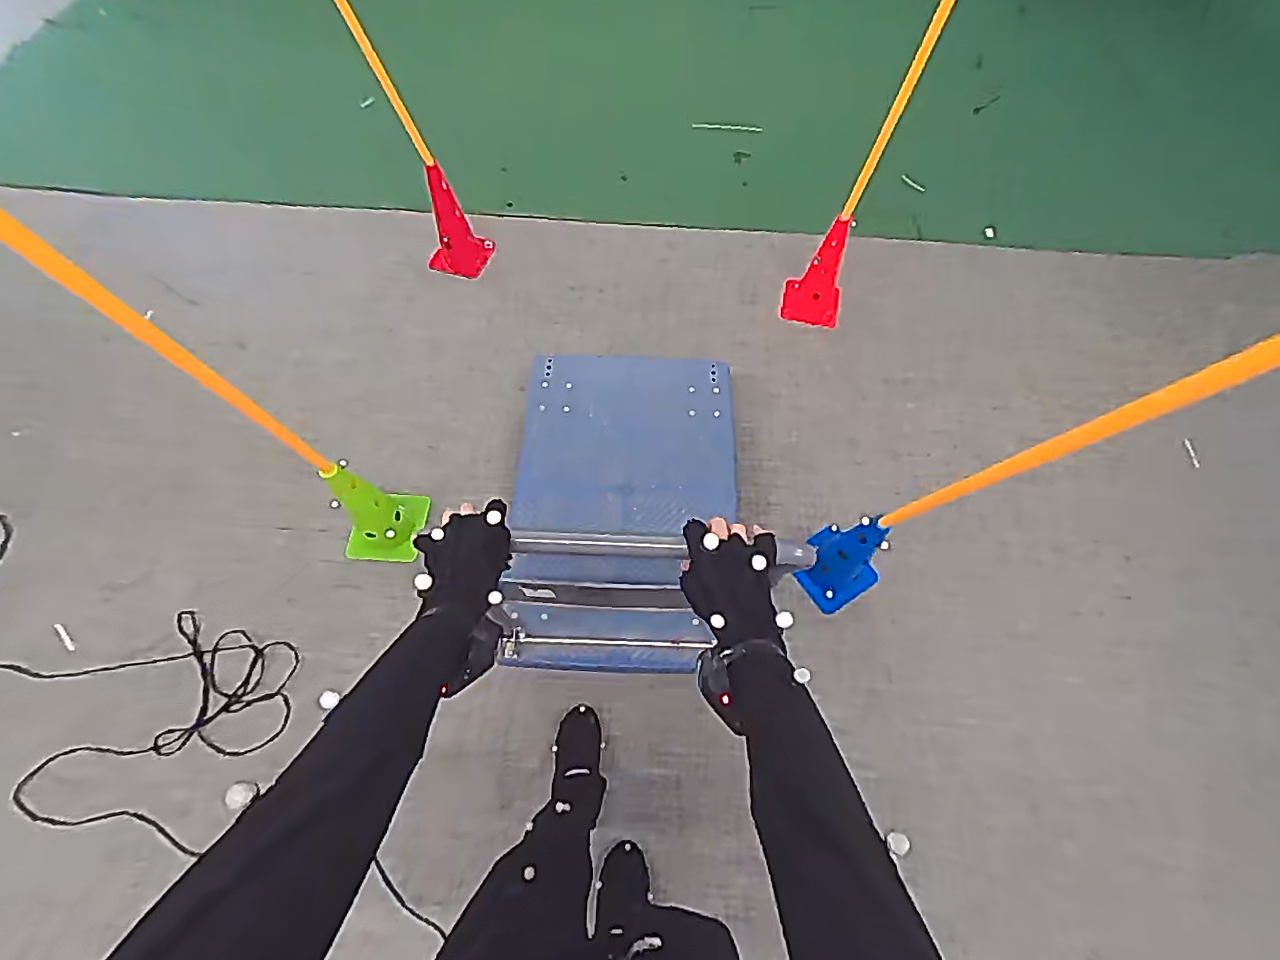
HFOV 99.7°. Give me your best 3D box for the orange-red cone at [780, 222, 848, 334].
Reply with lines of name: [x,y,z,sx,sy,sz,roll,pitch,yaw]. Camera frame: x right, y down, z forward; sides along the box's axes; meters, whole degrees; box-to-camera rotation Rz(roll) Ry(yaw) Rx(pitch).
orange-red cone: [0.613,-0.687,1.788,0.198,0.360,0.199,14,65,7]
